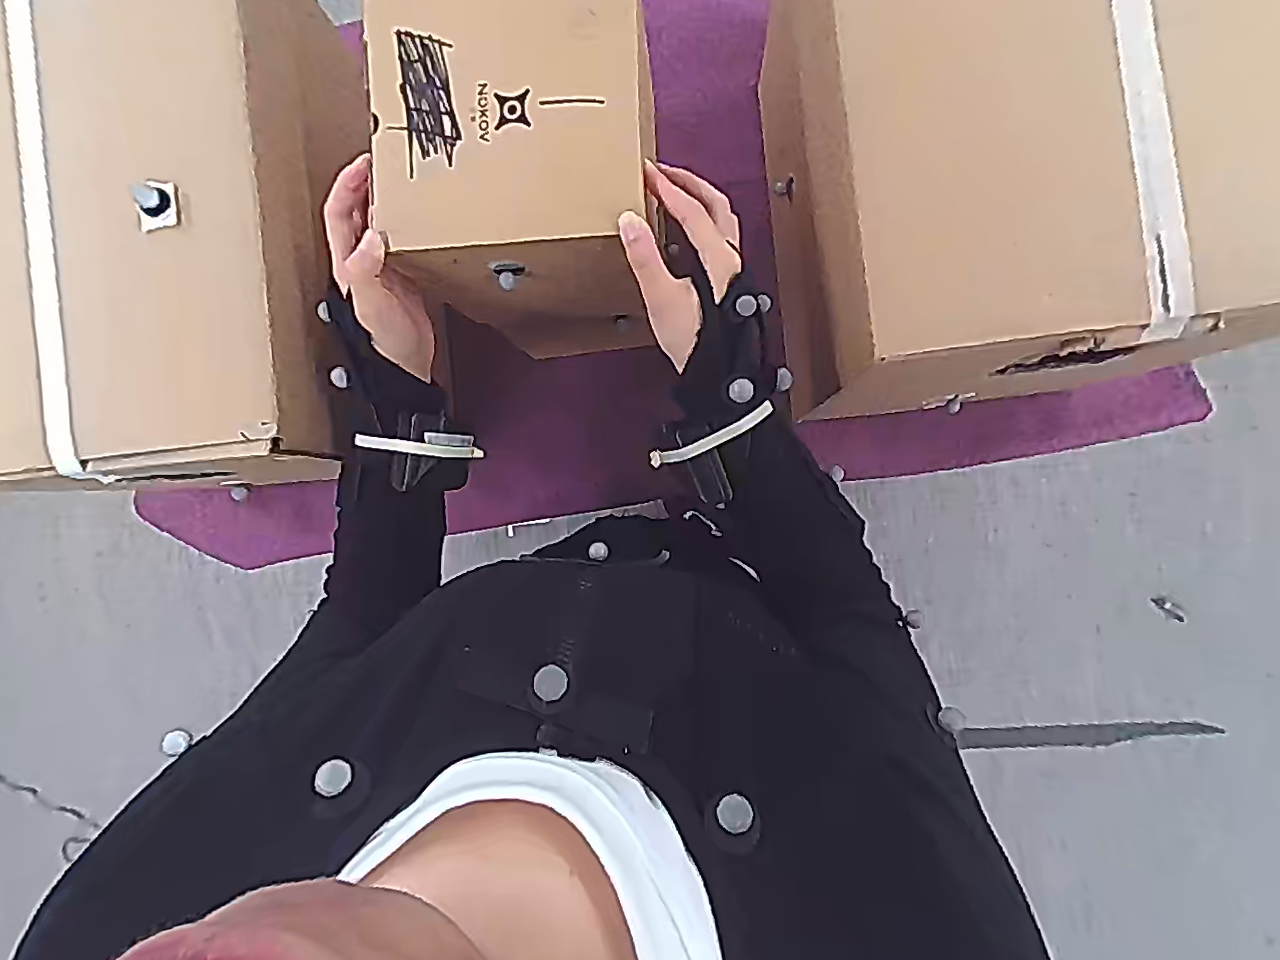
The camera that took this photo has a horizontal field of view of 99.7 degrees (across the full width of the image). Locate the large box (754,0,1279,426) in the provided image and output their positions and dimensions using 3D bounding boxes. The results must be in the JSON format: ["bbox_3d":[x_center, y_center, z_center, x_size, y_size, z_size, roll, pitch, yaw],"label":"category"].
[{"bbox_3d":[0.288,-0.281,0.464,0.320,0.320,0.408,-7,87,5],"label":"large box"}]
